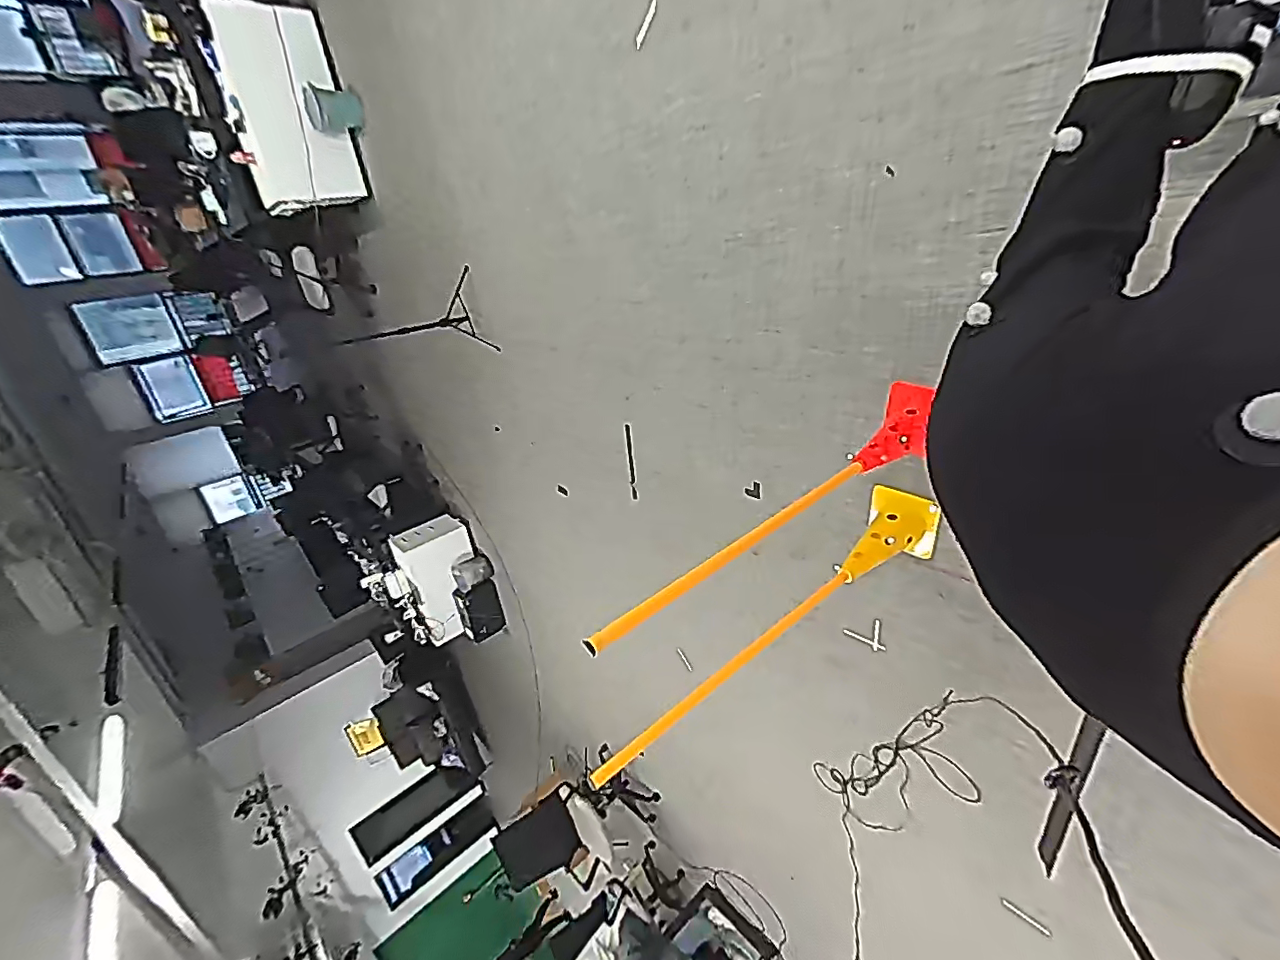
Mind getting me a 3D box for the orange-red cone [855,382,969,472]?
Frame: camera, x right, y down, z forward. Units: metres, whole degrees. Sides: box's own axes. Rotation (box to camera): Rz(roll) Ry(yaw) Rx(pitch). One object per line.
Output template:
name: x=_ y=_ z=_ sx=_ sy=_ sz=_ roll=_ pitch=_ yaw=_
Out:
orange-red cone: x=0.657 y=-0.101 z=1.391 sx=0.198 sy=0.360 sz=0.199 roll=27 pitch=130 yaw=39
